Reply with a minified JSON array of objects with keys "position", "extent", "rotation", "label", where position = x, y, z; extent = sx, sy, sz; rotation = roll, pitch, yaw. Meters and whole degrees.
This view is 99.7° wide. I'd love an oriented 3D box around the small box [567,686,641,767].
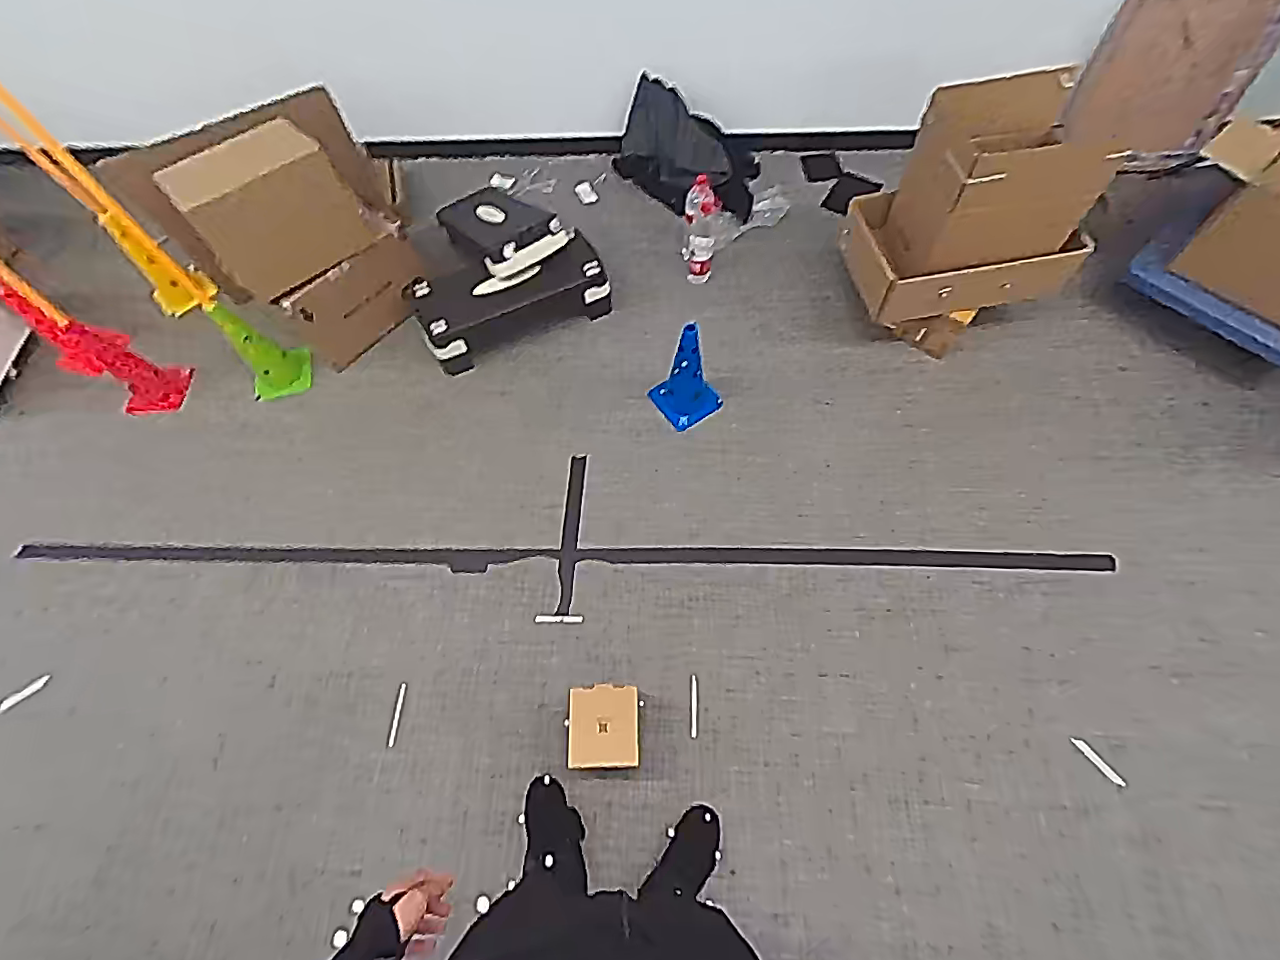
[{"position":[-0.084,0.614,1.351],"extent":[0.168,0.176,0.179],"rotation":[-2,64,1],"label":"small box"}]
